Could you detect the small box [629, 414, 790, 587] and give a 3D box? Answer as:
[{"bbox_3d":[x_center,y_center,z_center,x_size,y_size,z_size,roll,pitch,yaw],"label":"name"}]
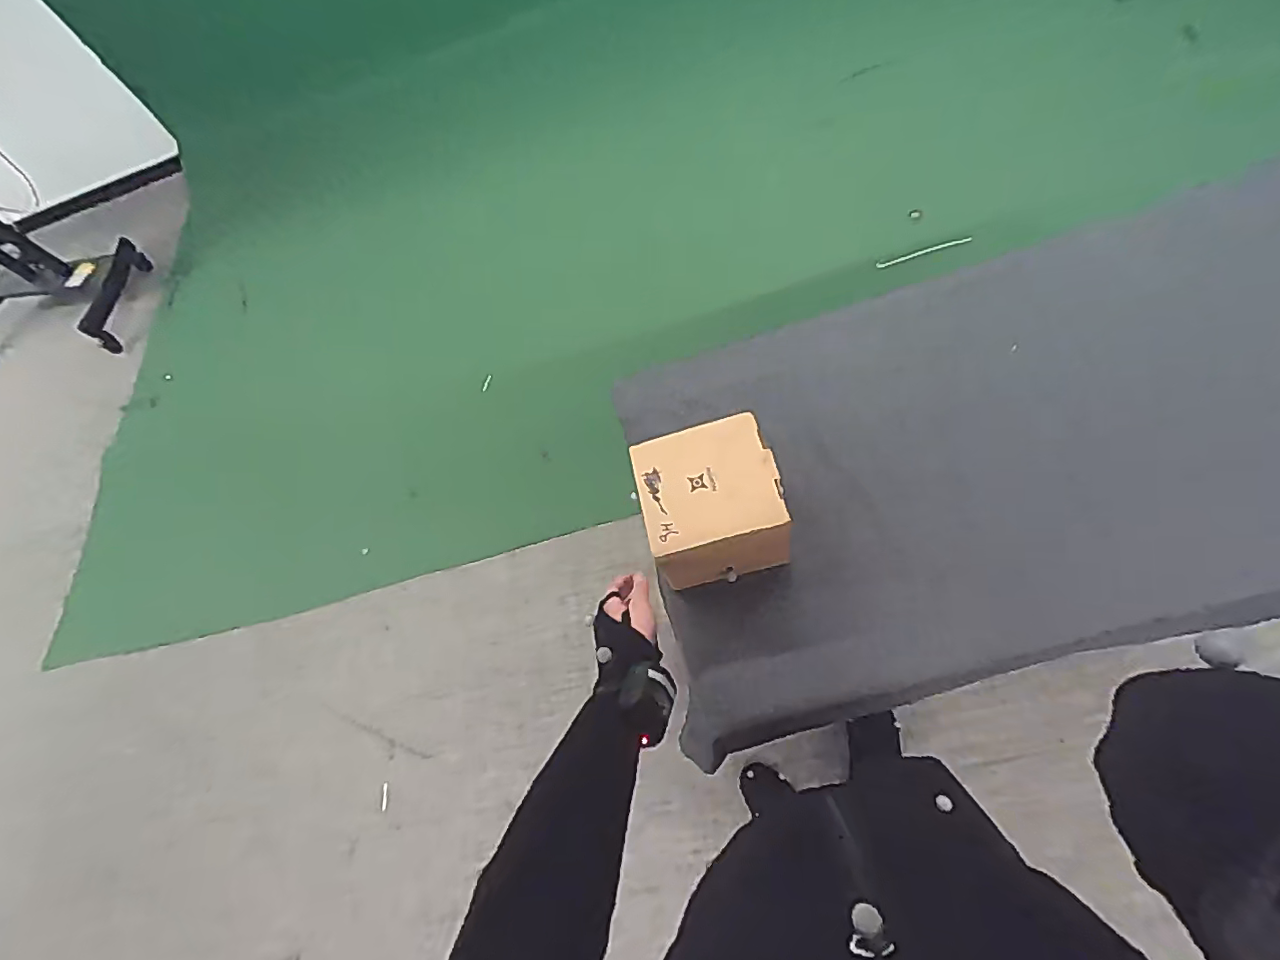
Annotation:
[{"bbox_3d":[0.097,0.037,0.759,0.179,0.176,0.168,-15,62,6],"label":"small box"}]
